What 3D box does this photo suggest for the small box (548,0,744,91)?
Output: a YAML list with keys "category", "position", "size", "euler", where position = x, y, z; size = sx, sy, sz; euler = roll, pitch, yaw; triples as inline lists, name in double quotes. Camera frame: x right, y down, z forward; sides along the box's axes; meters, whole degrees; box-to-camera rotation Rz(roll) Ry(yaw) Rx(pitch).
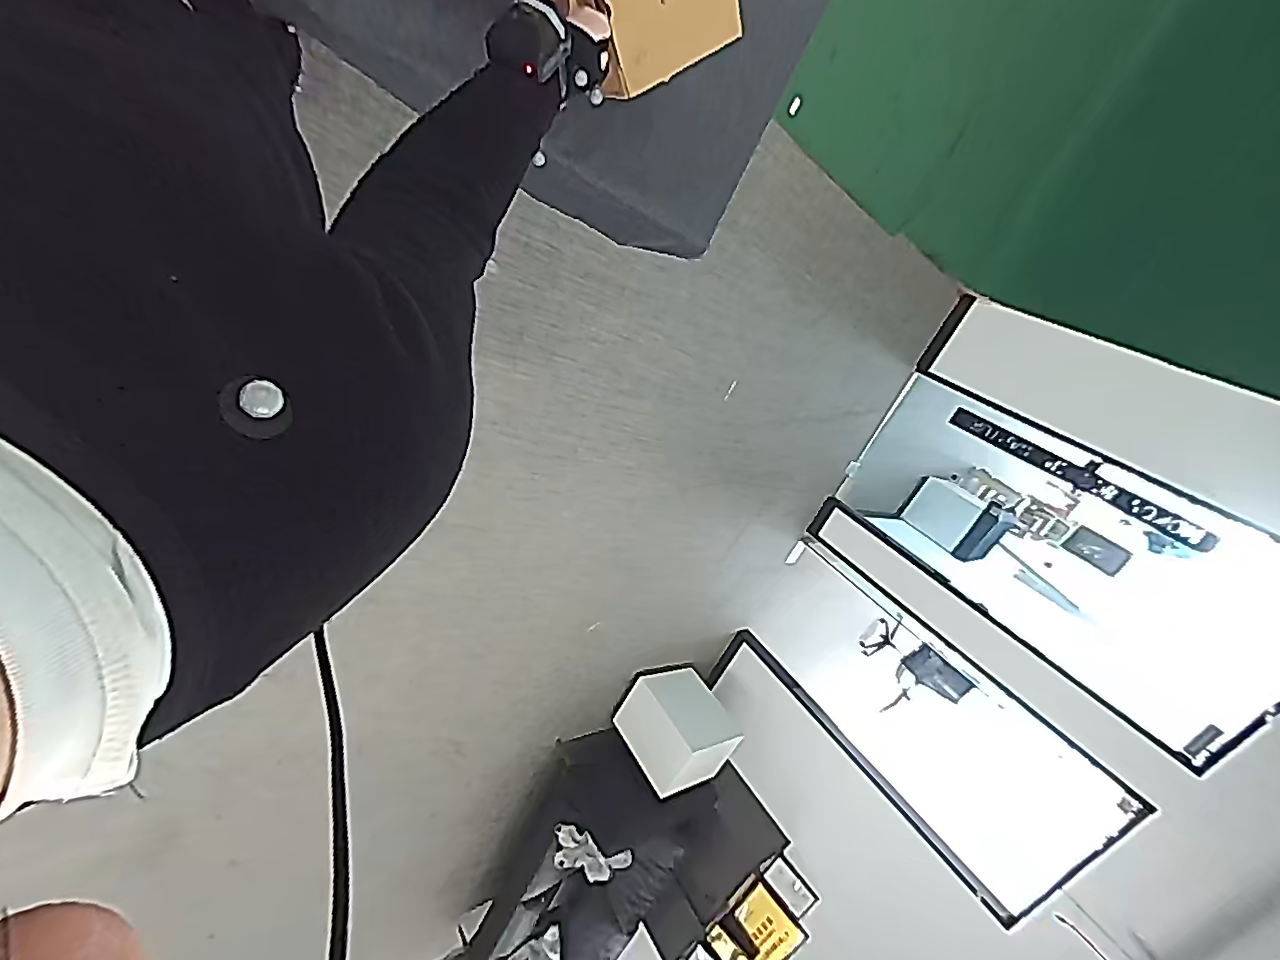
- category: "small box"
  position: [-0.008, -0.586, 0.626]
  size: [0.179, 0.176, 0.168]
  euler: [-37, 141, -10]
